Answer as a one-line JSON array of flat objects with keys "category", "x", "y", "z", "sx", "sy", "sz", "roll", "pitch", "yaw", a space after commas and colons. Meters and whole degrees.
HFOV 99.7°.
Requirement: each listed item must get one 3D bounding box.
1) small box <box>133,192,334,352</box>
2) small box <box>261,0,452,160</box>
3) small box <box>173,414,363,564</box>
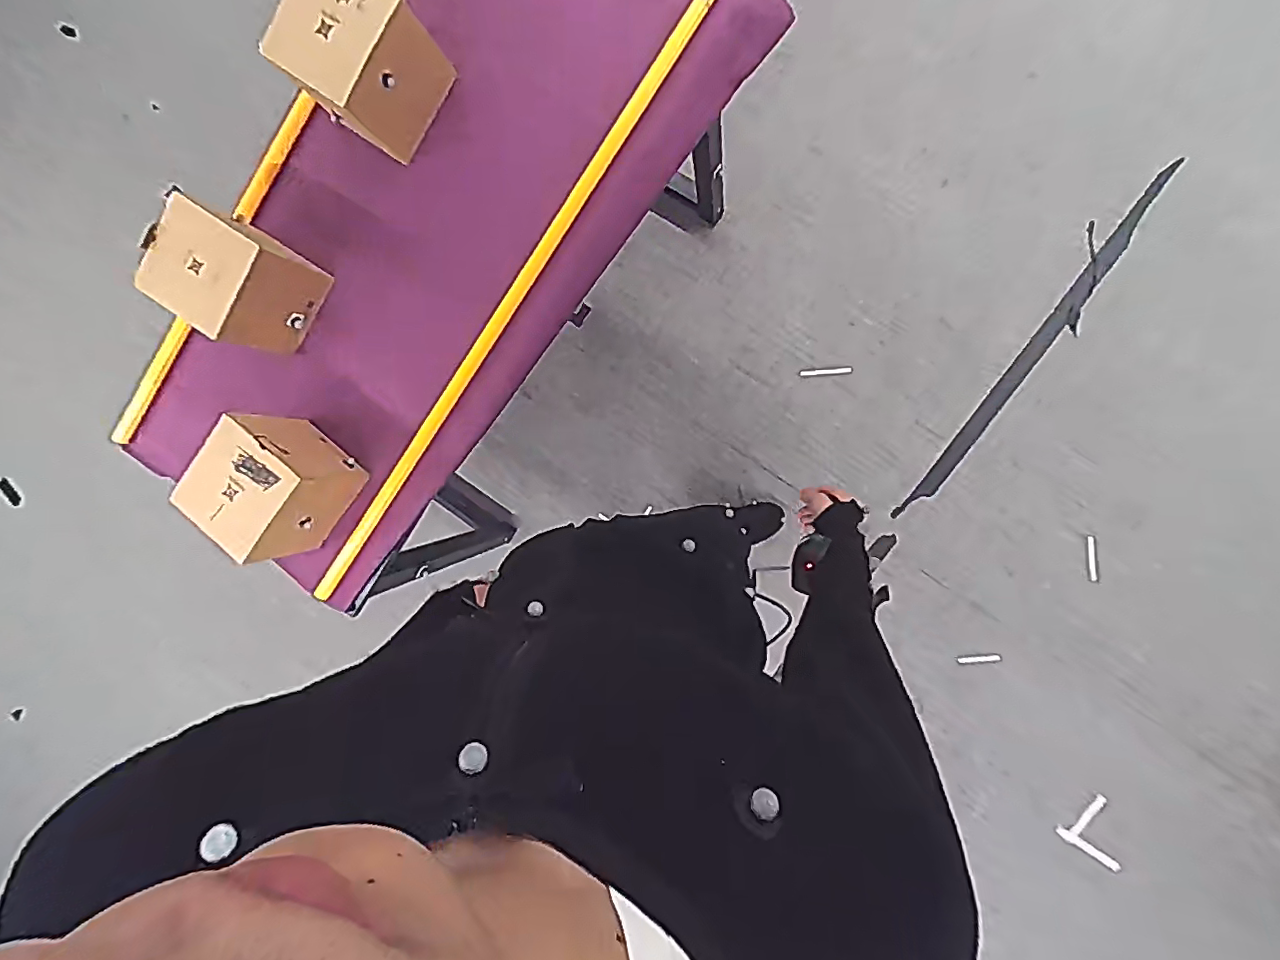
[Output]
[{"category": "small box", "x": -0.668, "y": -0.333, "z": 0.905, "sx": 0.179, "sy": 0.176, "sz": 0.168, "roll": 33, "pitch": 98, "yaw": 6}, {"category": "small box", "x": -0.432, "y": -0.653, "z": 0.852, "sx": 0.168, "sy": 0.176, "sz": 0.179, "roll": 35, "pitch": 97, "yaw": 5}, {"category": "small box", "x": -0.605, "y": 0.011, "z": 0.908, "sx": 0.168, "sy": 0.176, "sz": 0.179, "roll": 39, "pitch": 97, "yaw": 5}]
